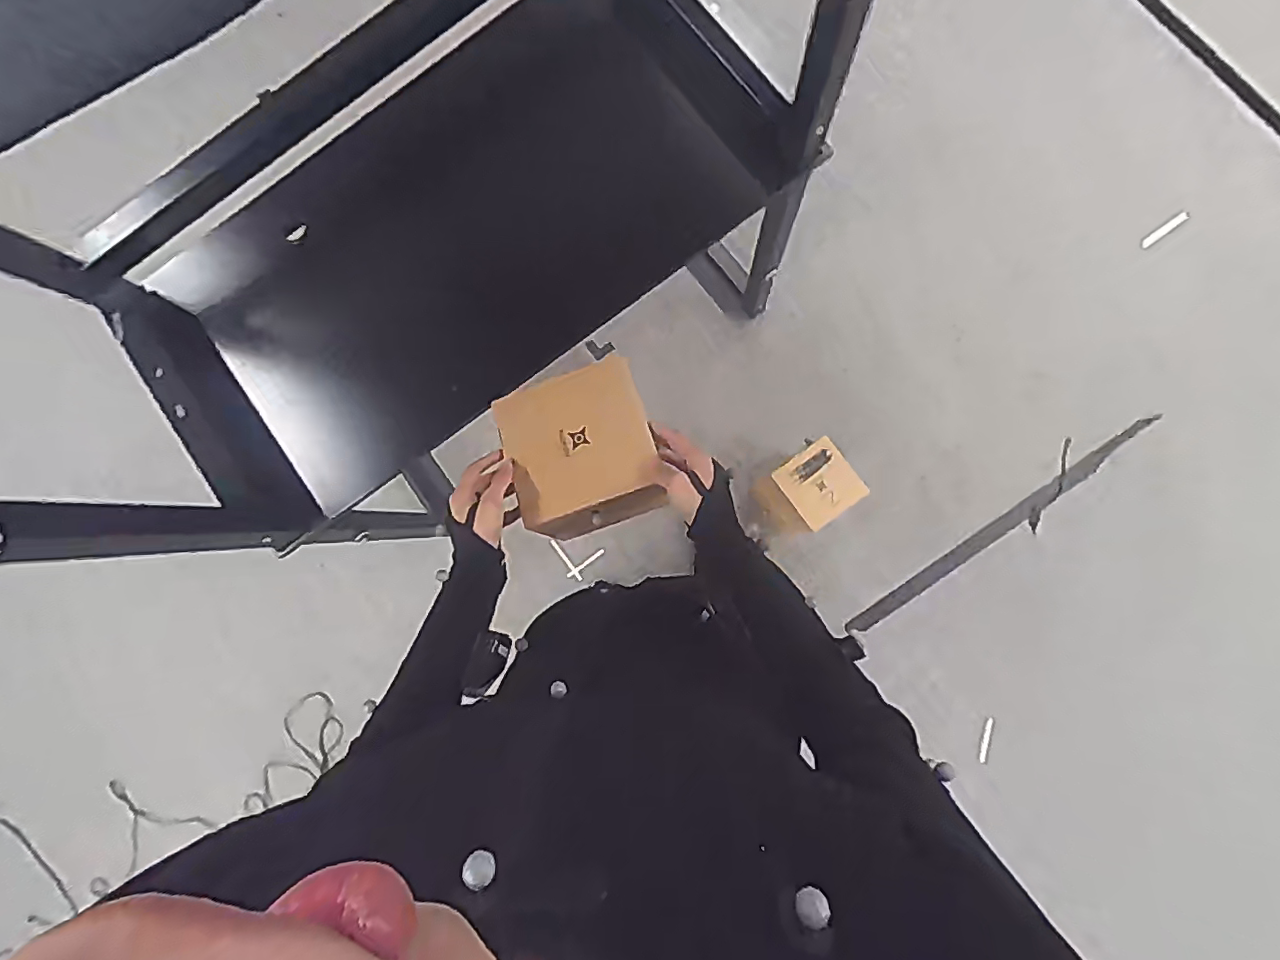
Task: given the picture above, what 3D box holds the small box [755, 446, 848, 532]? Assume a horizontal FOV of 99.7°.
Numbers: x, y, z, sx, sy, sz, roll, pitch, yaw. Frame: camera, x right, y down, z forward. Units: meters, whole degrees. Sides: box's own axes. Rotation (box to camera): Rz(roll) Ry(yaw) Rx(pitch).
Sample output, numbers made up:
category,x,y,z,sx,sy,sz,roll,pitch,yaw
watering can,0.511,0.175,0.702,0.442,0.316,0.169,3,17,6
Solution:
category,x,y,z,sx,sy,sz,roll,pitch,yaw
small box,0.442,0.027,1.518,0.179,0.176,0.168,-38,83,2
